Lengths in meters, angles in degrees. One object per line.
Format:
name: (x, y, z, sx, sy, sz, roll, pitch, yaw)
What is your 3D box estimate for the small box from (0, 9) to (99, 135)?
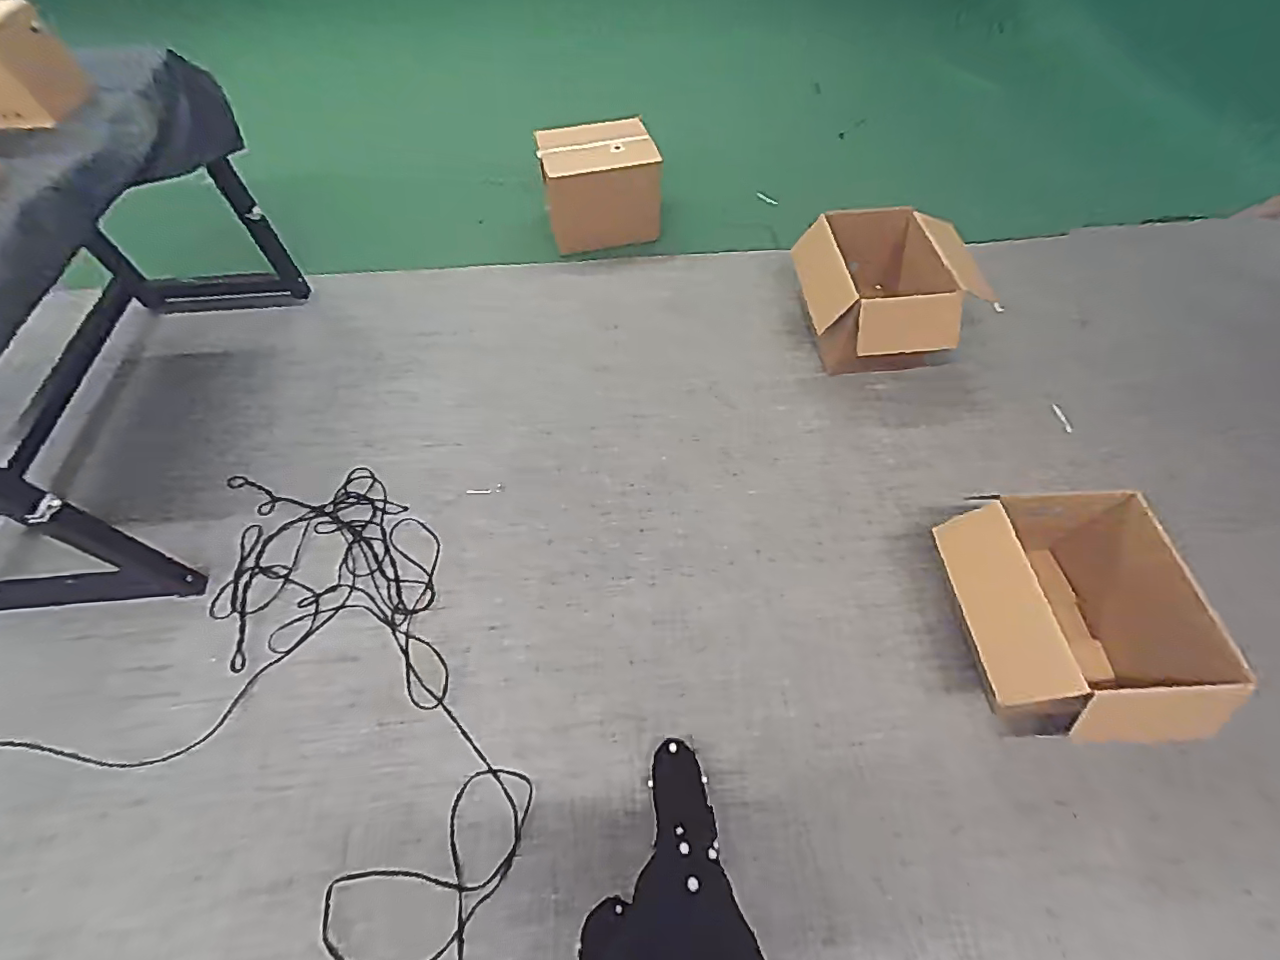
small box: (-1.326, -0.857, 1.145, 0.168, 0.176, 0.179, -3, 58, 0)
